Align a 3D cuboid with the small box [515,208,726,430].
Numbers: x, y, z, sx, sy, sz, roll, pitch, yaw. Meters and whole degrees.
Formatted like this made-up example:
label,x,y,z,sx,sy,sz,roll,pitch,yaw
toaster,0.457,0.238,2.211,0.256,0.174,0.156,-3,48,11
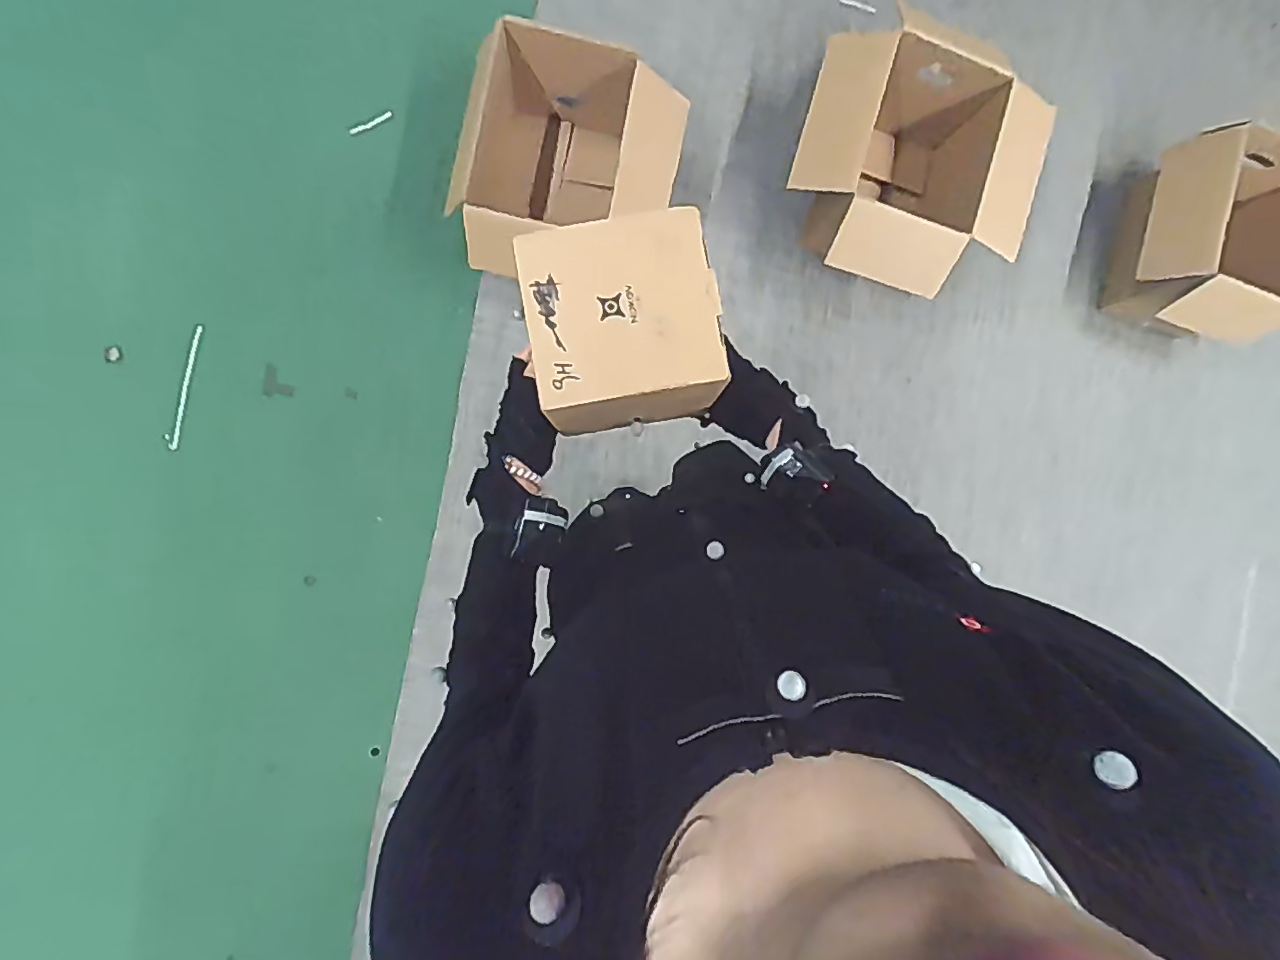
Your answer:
label,x,y,z,sx,sy,sz,roll,pitch,yaw
small box,-0.021,-0.156,0.573,0.179,0.176,0.168,-9,86,-2
